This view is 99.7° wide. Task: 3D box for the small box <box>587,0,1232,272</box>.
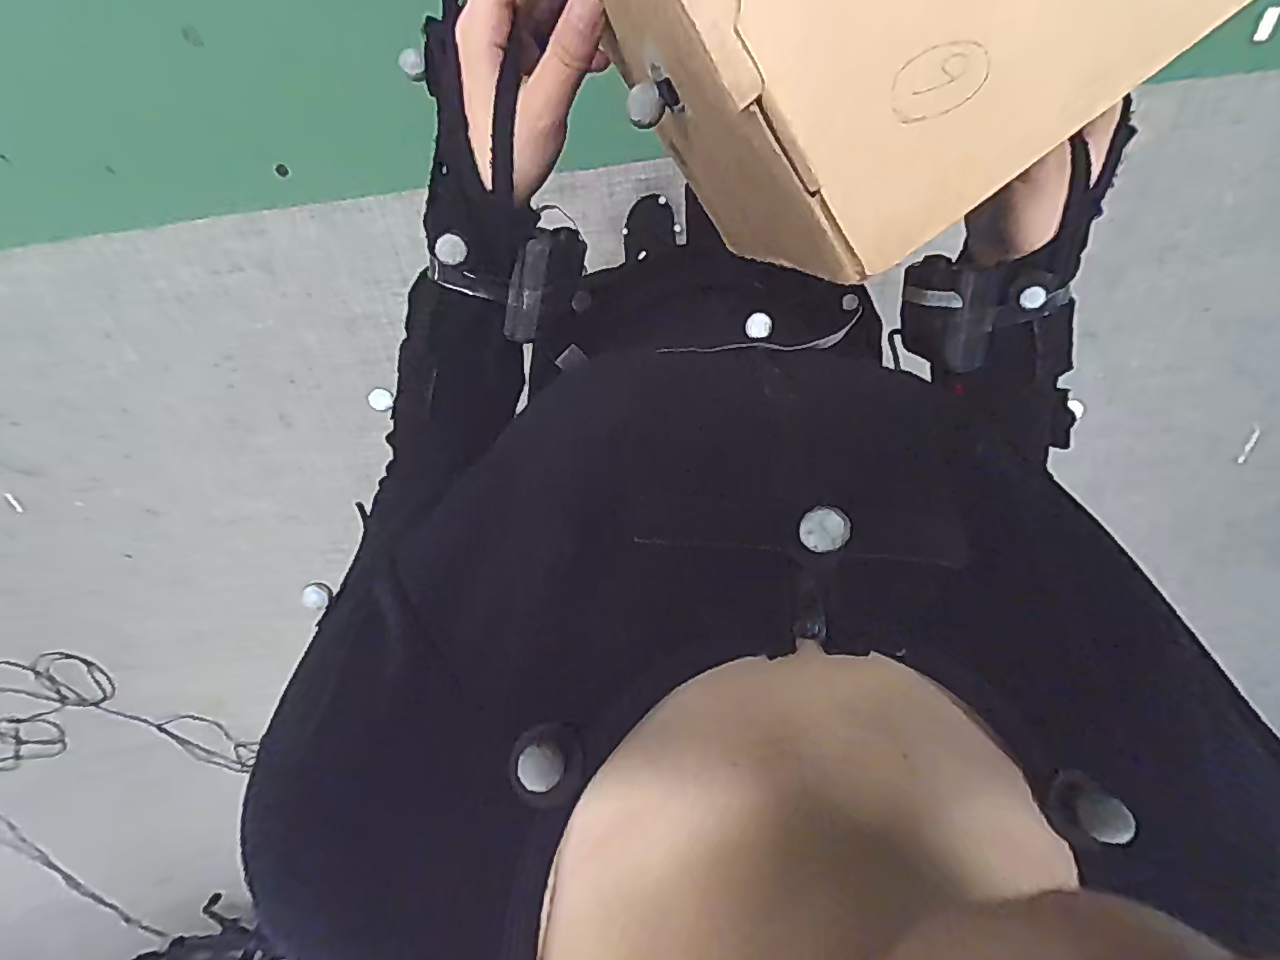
[{"bbox_3d":[0.078,-0.200,0.187,0.179,0.176,0.168,-36,112,13],"label":"small box"}]
